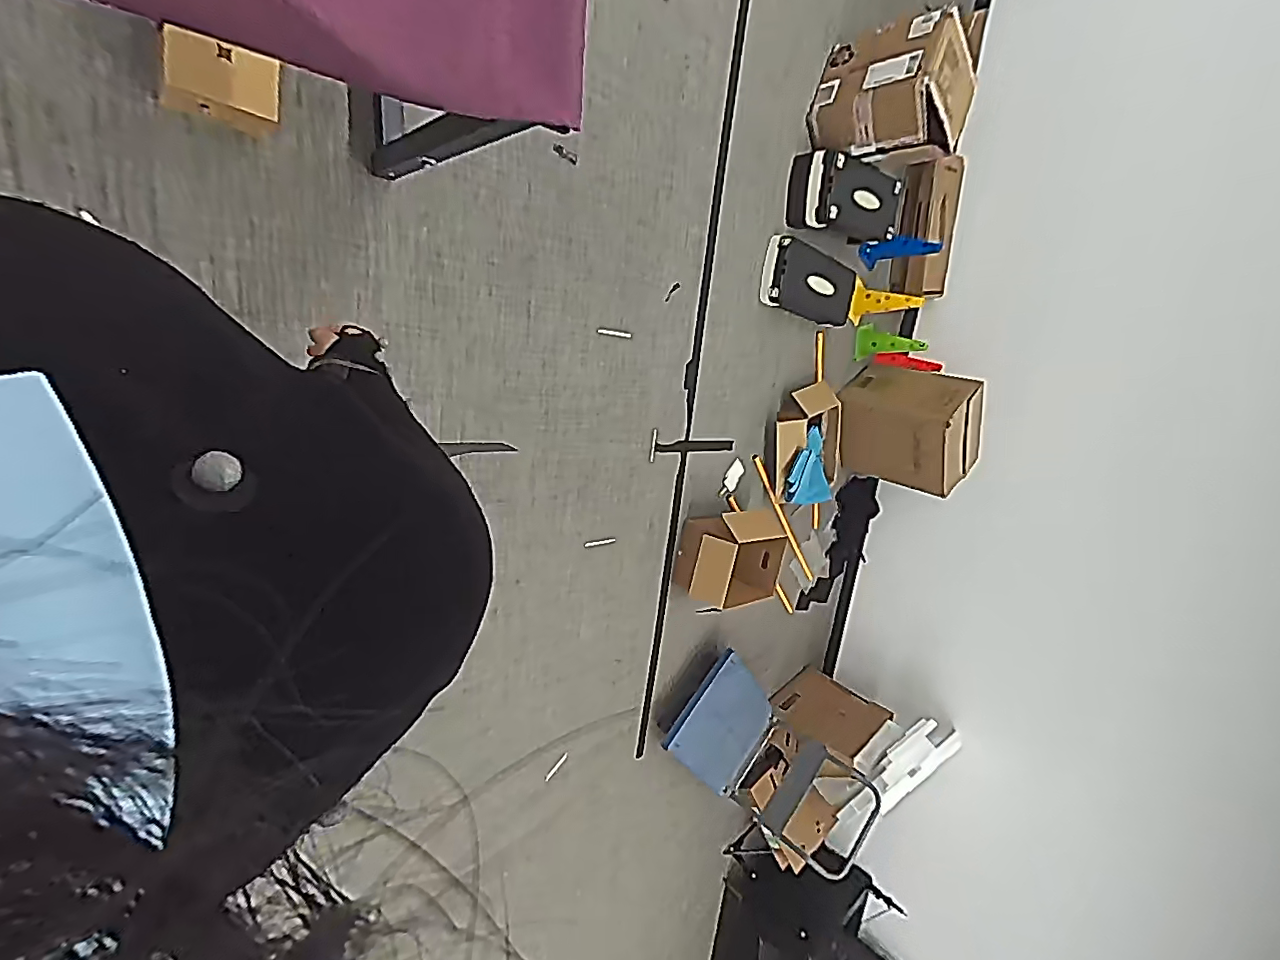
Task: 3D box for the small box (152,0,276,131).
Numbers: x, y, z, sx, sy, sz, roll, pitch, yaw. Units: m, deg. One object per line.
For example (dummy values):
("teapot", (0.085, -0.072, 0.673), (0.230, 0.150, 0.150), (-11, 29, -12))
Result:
("small box", (-0.797, -0.790, 1.012), (0.168, 0.176, 0.179), (-2, 106, -44))
